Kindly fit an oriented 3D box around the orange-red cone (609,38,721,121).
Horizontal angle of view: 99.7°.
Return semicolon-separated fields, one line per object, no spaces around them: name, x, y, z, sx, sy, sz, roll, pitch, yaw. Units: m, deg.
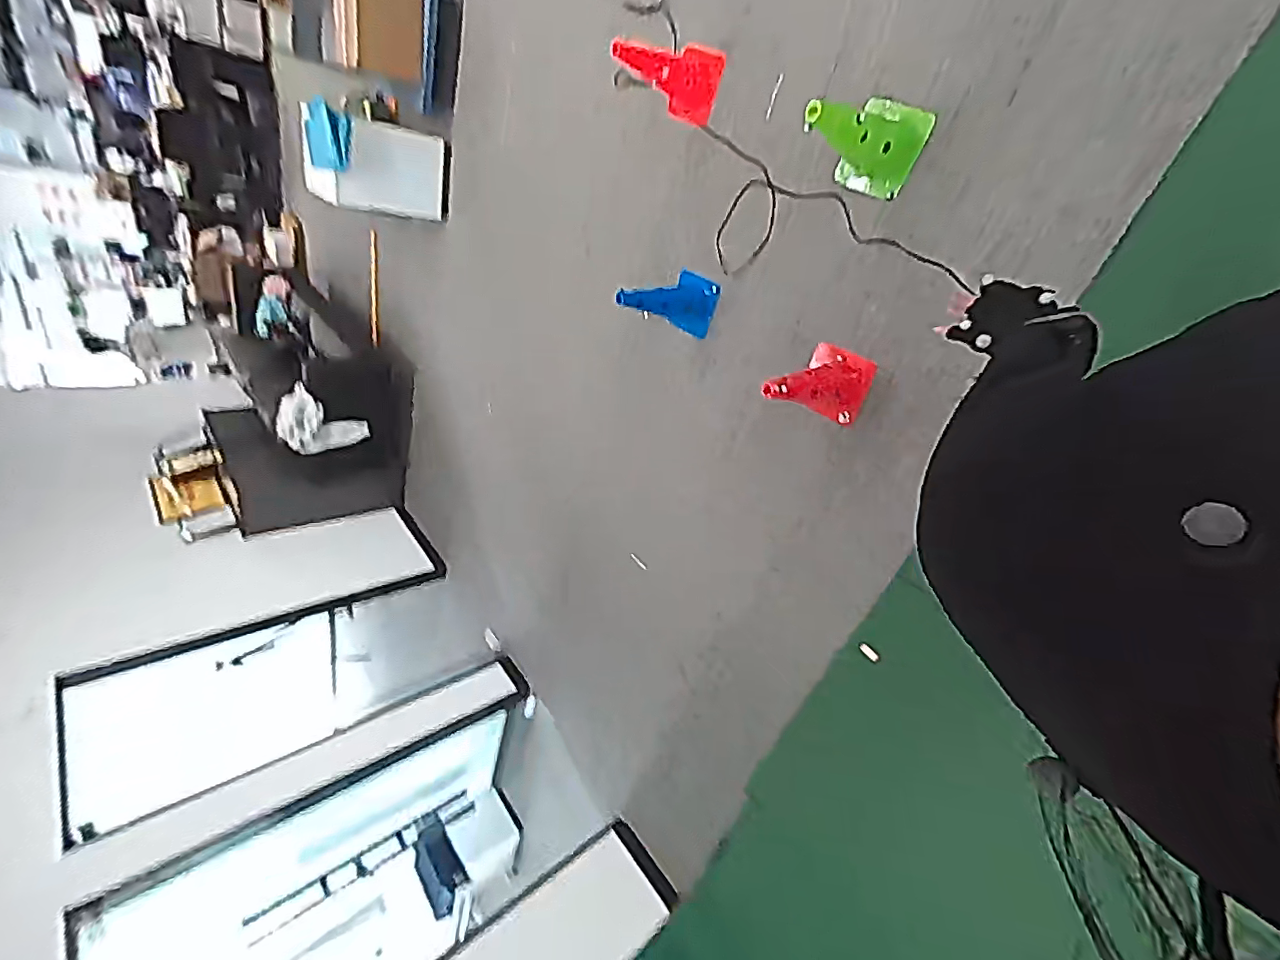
orange-red cone;0.049;-1.283;1.666;0.199;0.360;0.198;44;130;29

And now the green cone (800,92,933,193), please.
green cone;0.499;-0.848;1.287;0.202;0.368;0.200;44;128;33
